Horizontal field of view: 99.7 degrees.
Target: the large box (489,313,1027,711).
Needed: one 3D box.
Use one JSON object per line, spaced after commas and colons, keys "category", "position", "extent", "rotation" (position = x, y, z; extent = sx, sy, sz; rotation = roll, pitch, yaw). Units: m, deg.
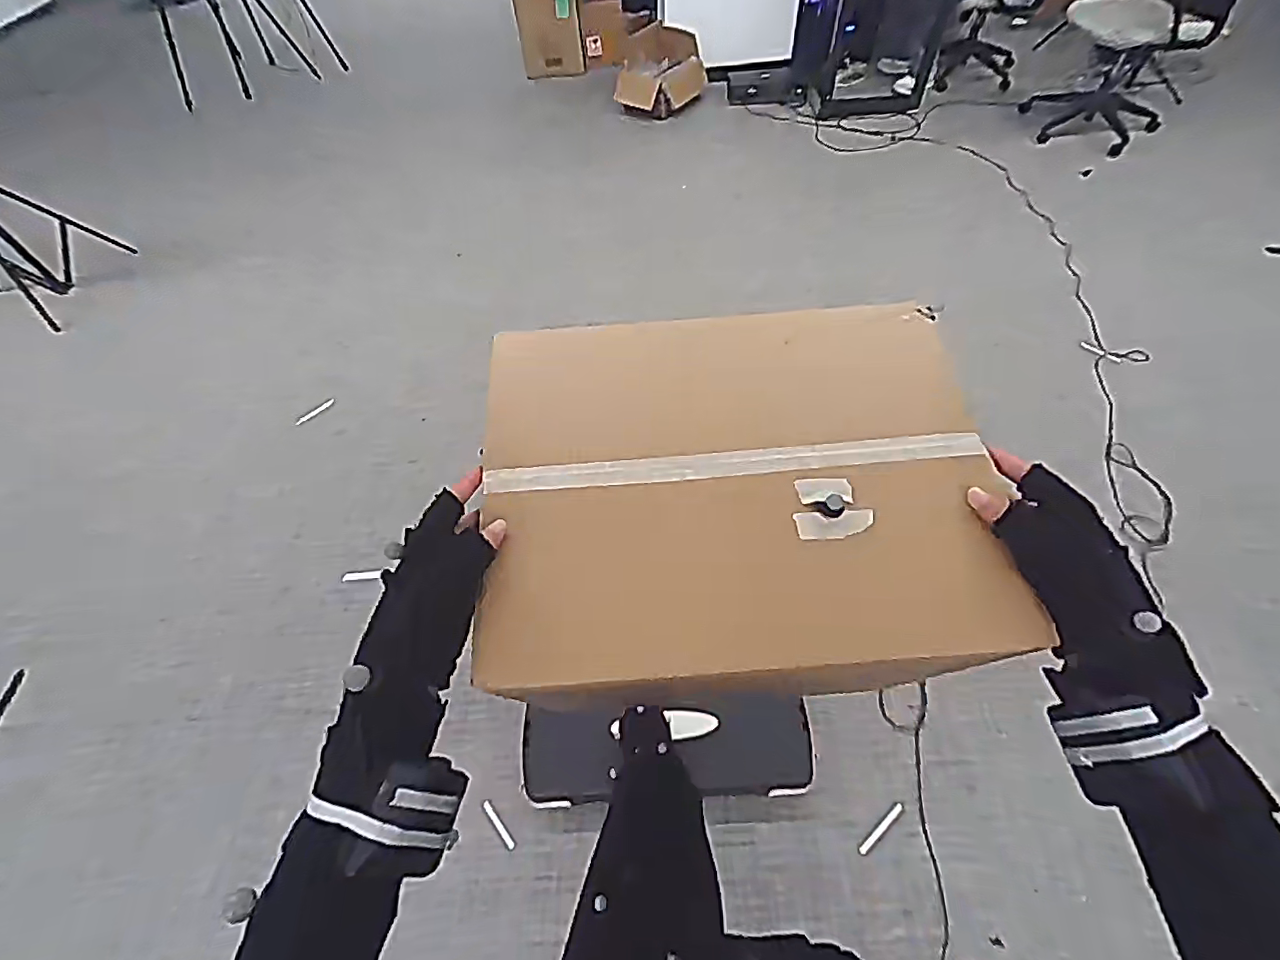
{"category": "large box", "position": [0.077, 0.057, 0.588], "extent": [0.408, 0.320, 0.320], "rotation": [-5, 64, -1]}
